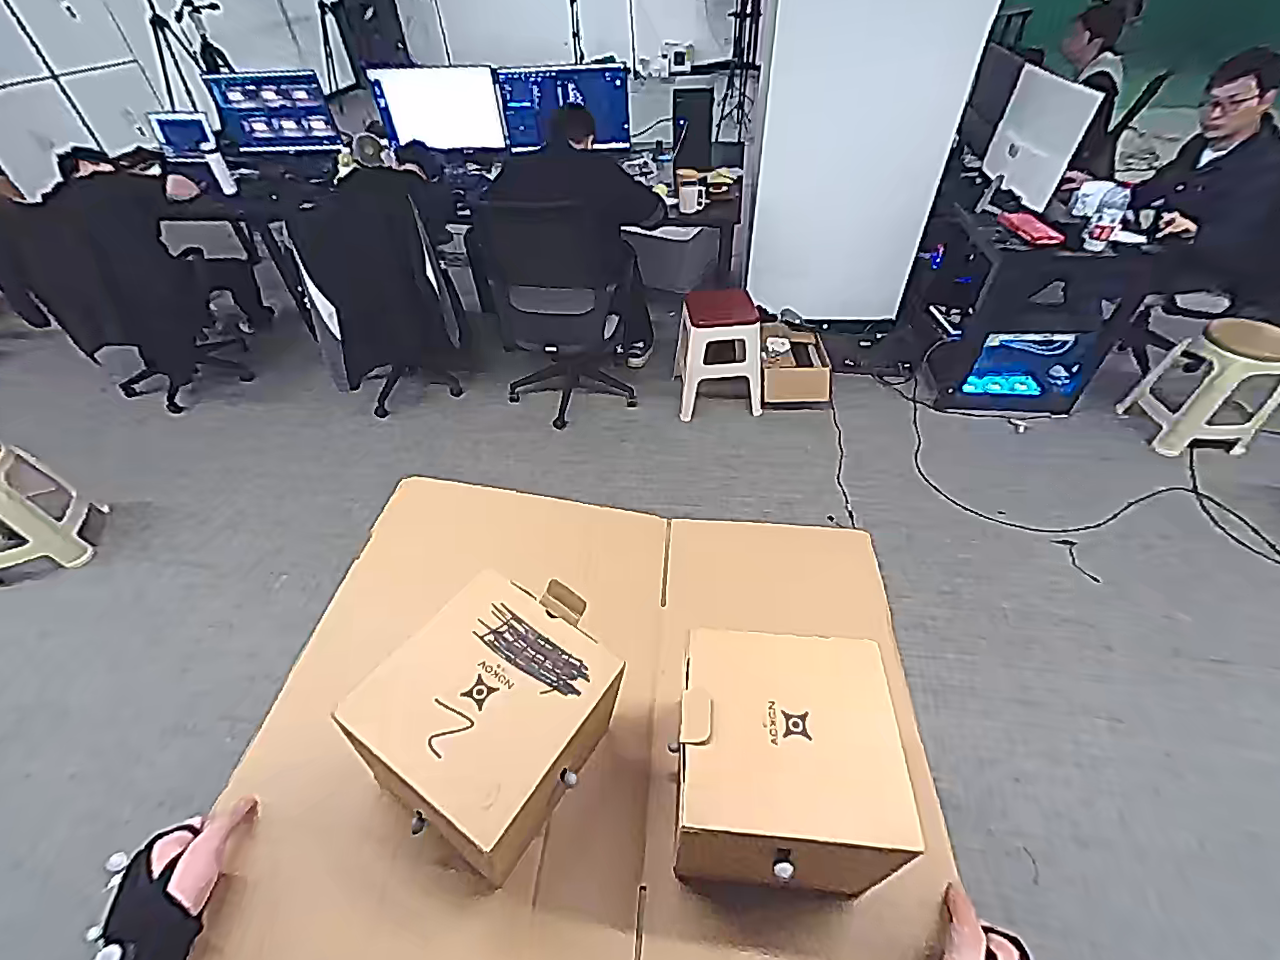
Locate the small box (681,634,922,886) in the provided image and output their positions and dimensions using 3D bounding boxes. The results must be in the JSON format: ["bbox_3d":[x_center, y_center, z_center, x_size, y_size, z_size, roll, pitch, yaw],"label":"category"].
[{"bbox_3d":[0.132,0.267,0.514,0.179,0.176,0.168,2,45,5],"label":"small box"}]
